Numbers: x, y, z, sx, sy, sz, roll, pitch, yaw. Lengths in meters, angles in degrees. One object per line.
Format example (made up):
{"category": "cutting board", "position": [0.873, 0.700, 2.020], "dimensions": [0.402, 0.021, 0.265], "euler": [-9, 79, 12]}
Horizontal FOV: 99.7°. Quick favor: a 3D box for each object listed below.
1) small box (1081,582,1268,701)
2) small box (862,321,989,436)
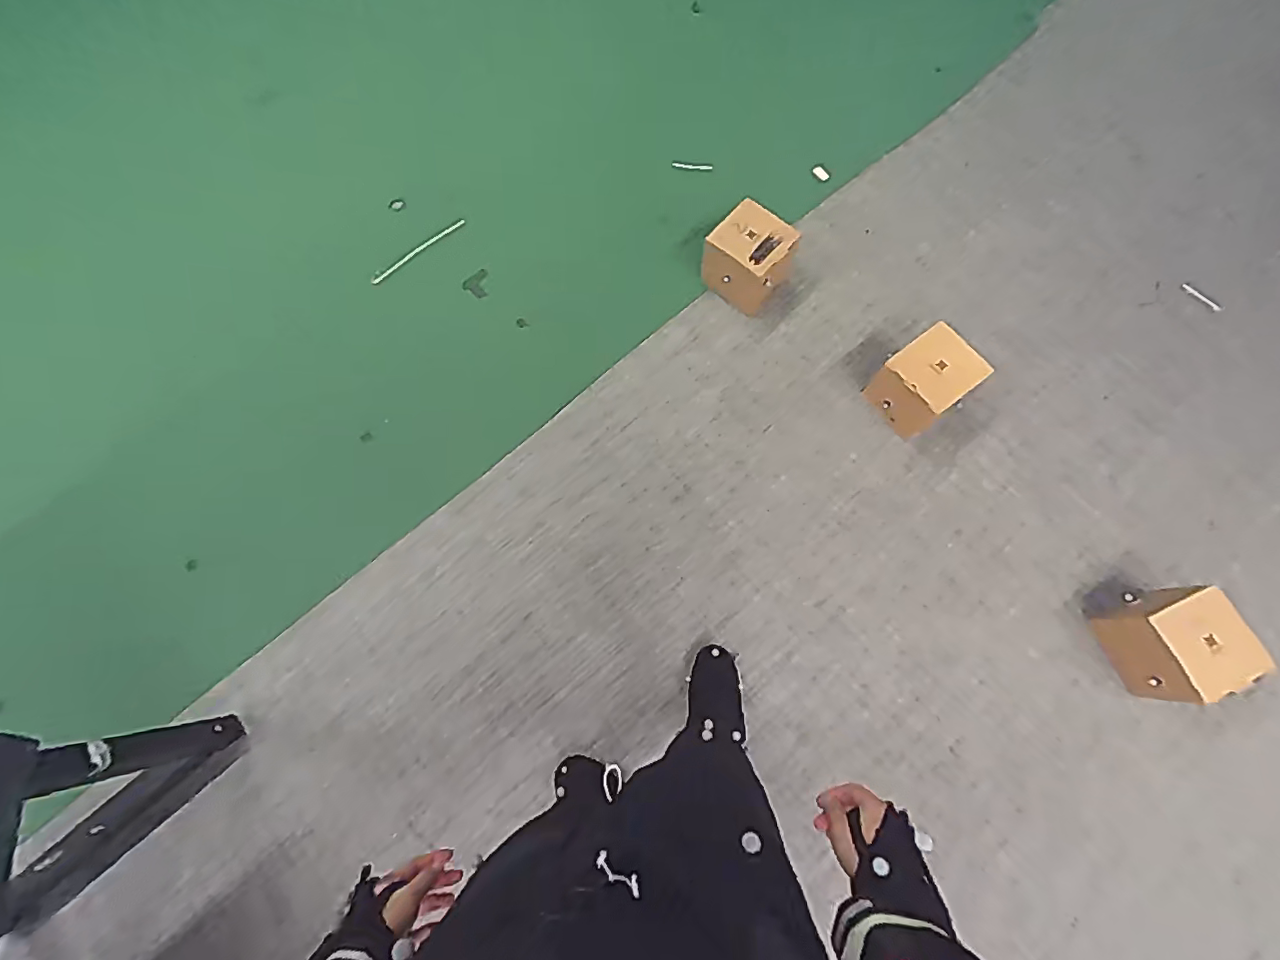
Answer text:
{"category": "small box", "position": [1.081, 0.328, 1.111], "dimensions": [0.168, 0.176, 0.179], "euler": [-24, 74, -6]}
{"category": "small box", "position": [0.666, -0.235, 1.286], "dimensions": [0.179, 0.176, 0.168], "euler": [-37, 76, -7]}
